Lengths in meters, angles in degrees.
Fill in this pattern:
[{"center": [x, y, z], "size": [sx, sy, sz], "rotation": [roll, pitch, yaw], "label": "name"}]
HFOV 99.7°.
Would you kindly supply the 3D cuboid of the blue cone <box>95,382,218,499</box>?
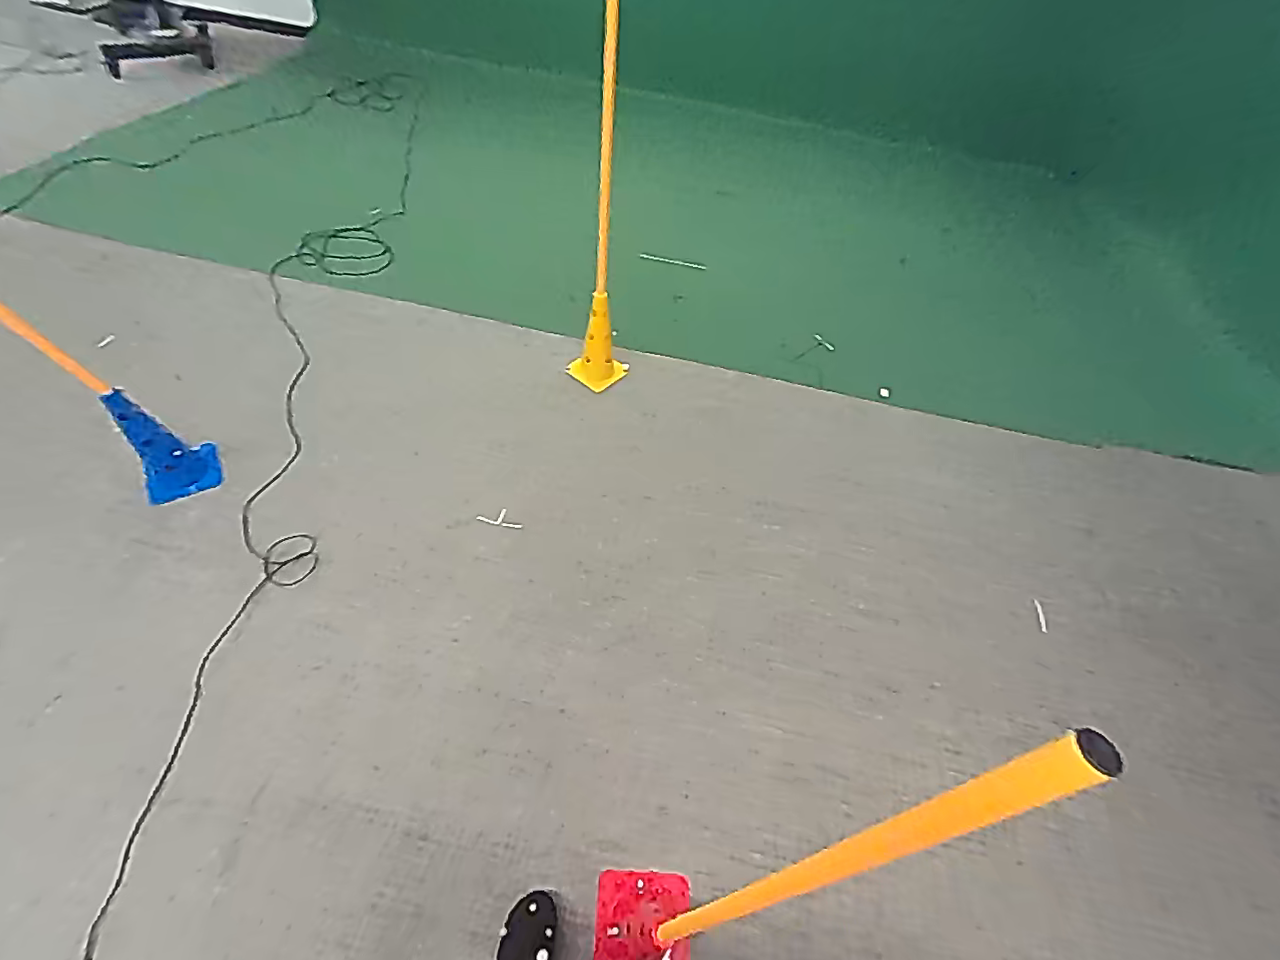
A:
[{"center": [-1.429, -0.130, 1.570], "size": [0.193, 0.380, 0.192], "rotation": [-26, 60, -23], "label": "blue cone"}]
